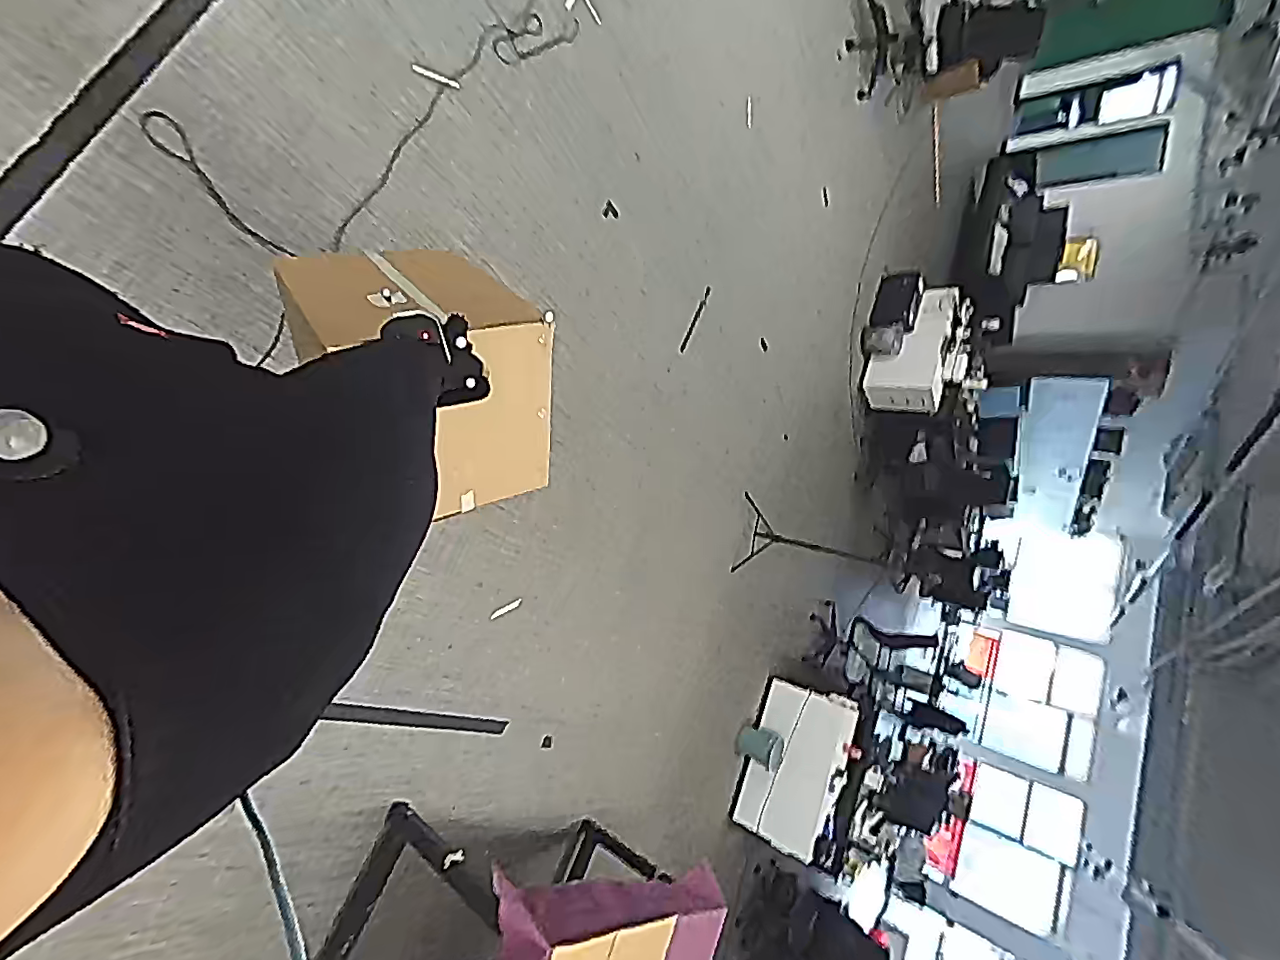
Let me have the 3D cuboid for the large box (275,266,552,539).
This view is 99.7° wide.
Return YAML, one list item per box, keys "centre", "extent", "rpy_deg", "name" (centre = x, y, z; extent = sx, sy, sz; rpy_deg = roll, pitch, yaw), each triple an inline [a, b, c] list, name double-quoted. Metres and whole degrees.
- centre: [-0.398, -0.164, 0.960]
  extent: [0.320, 0.408, 0.320]
  rpy_deg: [-19, 134, -34]
  name: "large box"
